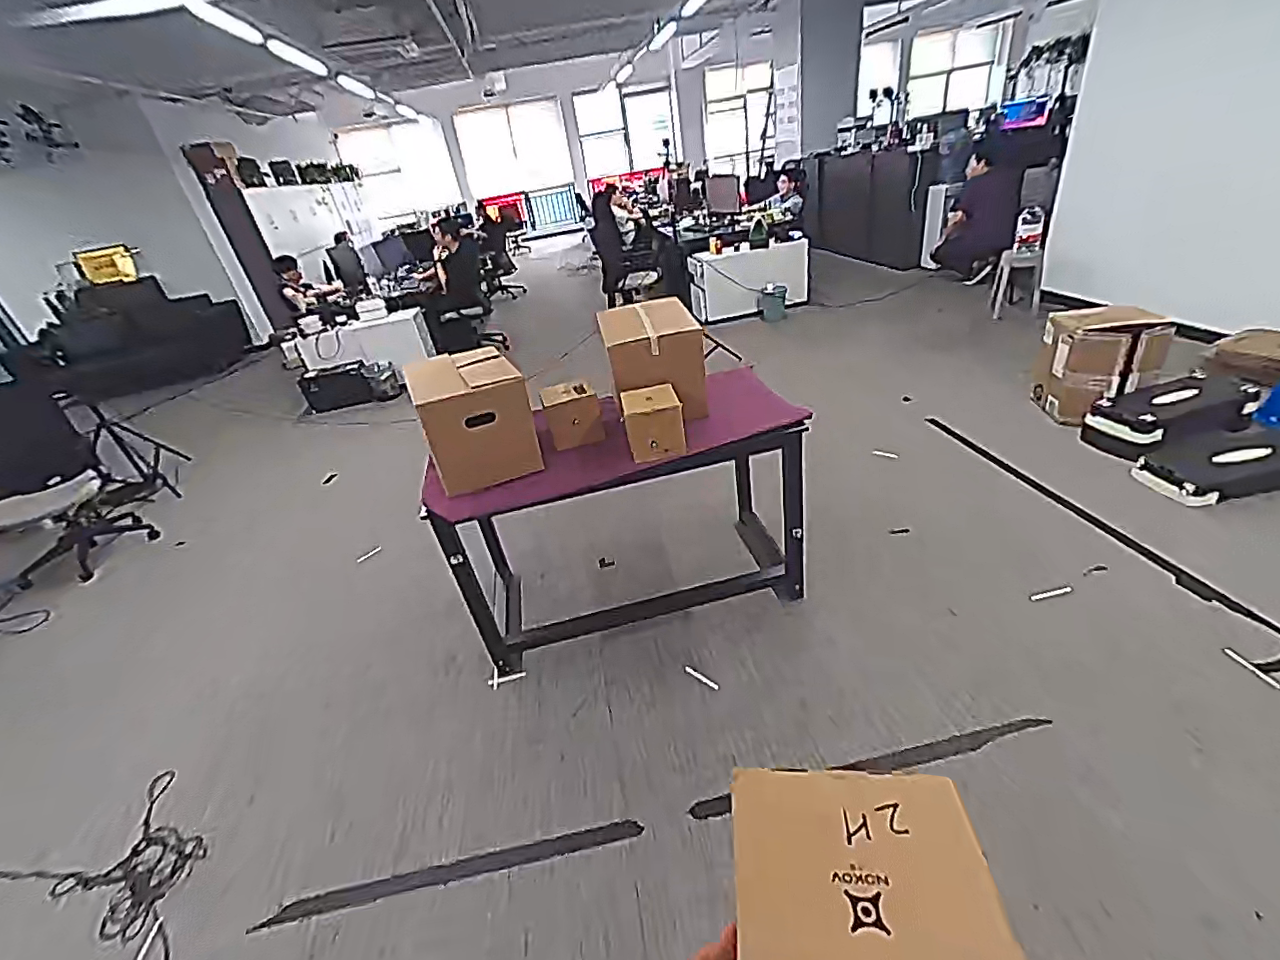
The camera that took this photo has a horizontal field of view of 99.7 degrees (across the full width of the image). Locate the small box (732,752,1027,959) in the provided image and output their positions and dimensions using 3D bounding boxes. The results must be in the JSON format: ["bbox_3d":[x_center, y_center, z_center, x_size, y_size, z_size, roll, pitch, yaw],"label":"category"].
[{"bbox_3d":[0.152,0.328,0.384,0.168,0.176,0.179,-1,28,9],"label":"small box"}]
